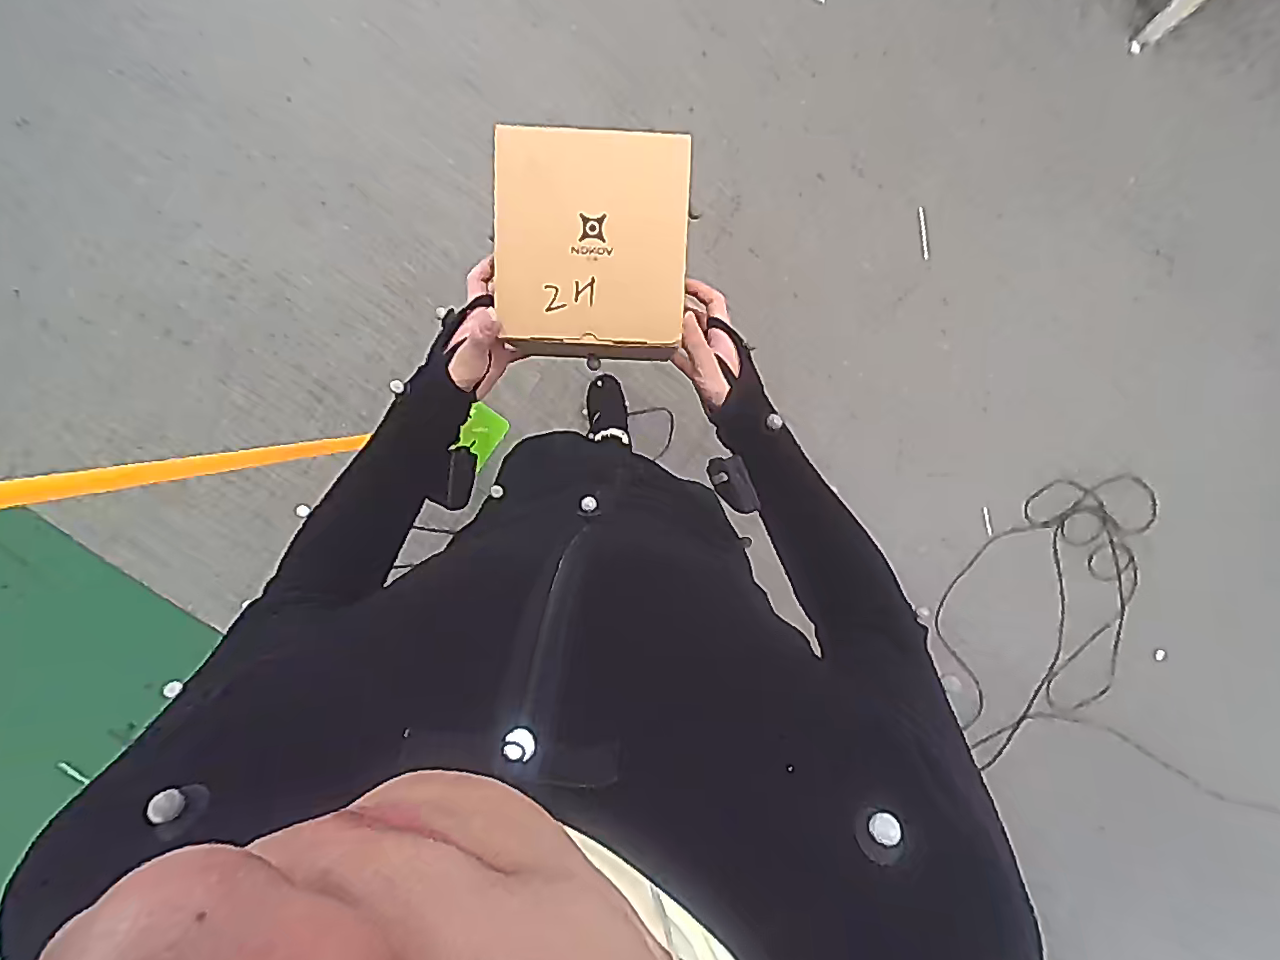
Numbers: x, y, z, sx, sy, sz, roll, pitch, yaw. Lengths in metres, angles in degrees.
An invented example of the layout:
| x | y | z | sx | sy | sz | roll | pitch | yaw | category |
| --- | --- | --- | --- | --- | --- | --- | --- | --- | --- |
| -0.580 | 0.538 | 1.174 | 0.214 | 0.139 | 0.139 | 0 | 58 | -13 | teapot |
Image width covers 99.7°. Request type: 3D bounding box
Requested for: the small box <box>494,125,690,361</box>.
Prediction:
| x | y | z | sx | sy | sz | roll | pitch | yaw | category |
| --- | --- | --- | --- | --- | --- | --- | --- | --- | --- |
| -0.046 | -0.221 | 0.550 | 0.168 | 0.176 | 0.179 | 3 | 98 | -2 | small box |

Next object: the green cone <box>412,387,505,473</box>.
| x | y | z | sx | sy | sz | roll | pitch | yaw | category |
| --- | --- | --- | --- | --- | --- | --- | --- | --- | --- |
| -0.523 | -0.126 | 1.426 | 0.202 | 0.368 | 0.200 | 36 | 94 | -6 | green cone |
